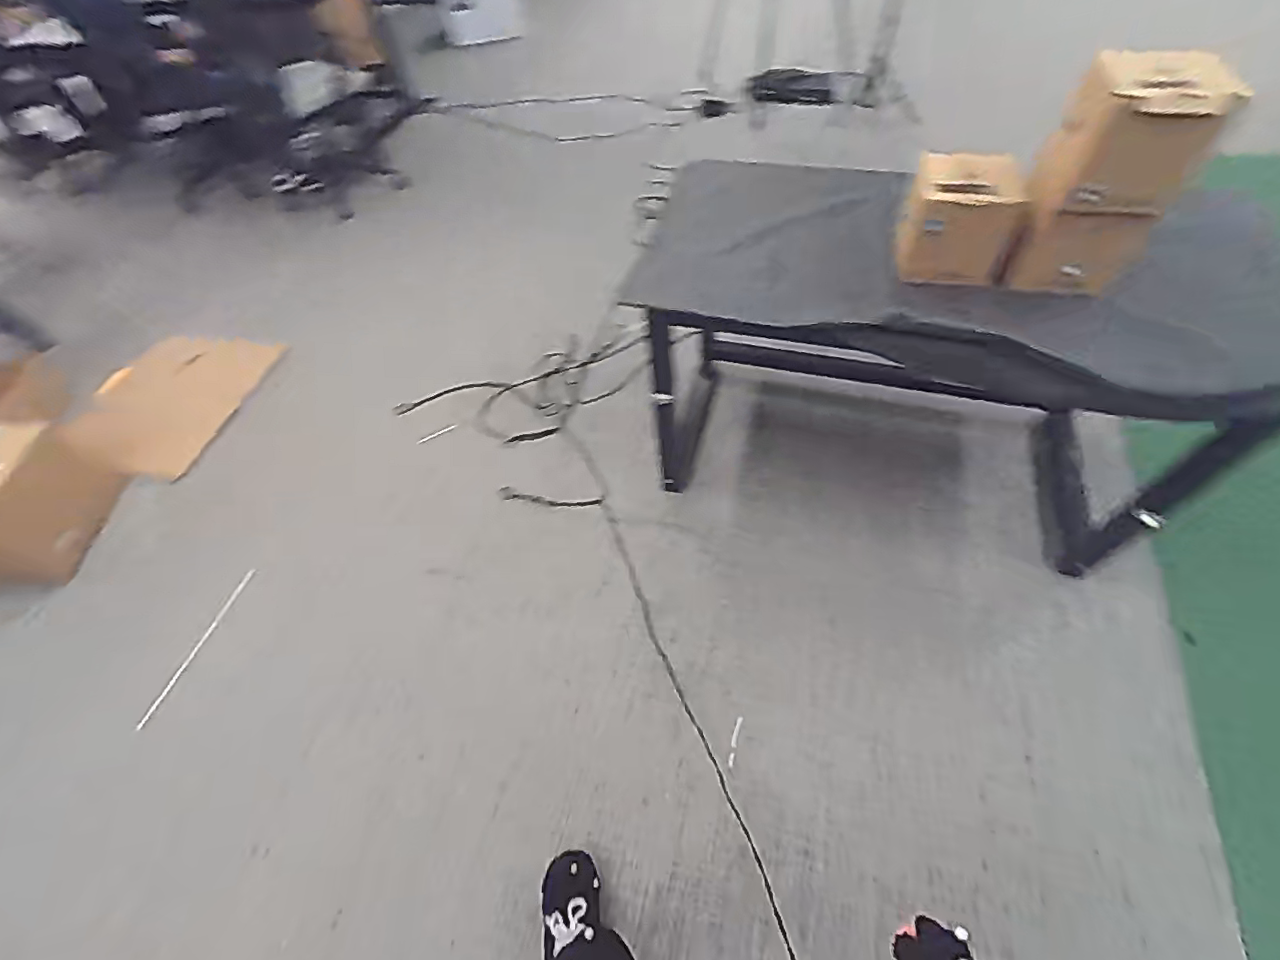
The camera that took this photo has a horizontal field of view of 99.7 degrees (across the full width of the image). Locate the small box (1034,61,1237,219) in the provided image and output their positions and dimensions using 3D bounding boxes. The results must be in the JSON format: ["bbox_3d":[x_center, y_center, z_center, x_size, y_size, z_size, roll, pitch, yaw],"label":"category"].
[{"bbox_3d":[0.778,-0.546,0.876,0.168,0.176,0.179,9,56,12],"label":"small box"}]
